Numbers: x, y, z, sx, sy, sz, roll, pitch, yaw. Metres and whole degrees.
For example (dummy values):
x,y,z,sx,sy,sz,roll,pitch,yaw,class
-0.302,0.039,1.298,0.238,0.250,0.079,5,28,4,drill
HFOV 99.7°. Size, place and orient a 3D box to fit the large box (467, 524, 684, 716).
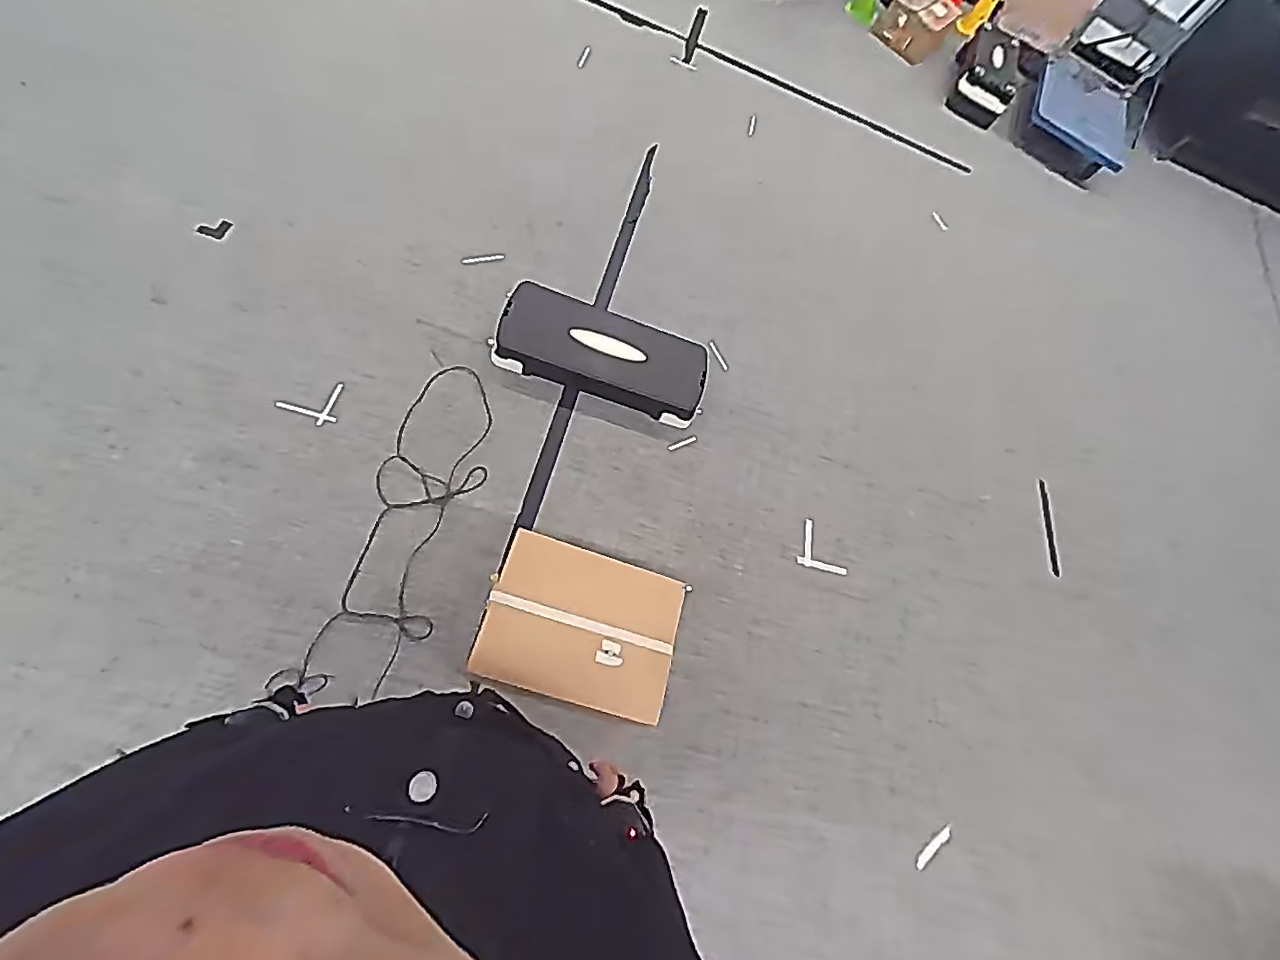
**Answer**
x,y,z,sx,sy,sz,roll,pitch,yaw,class
-0.160,0.344,1.270,0.408,0.320,0.320,20,64,-9,large box
